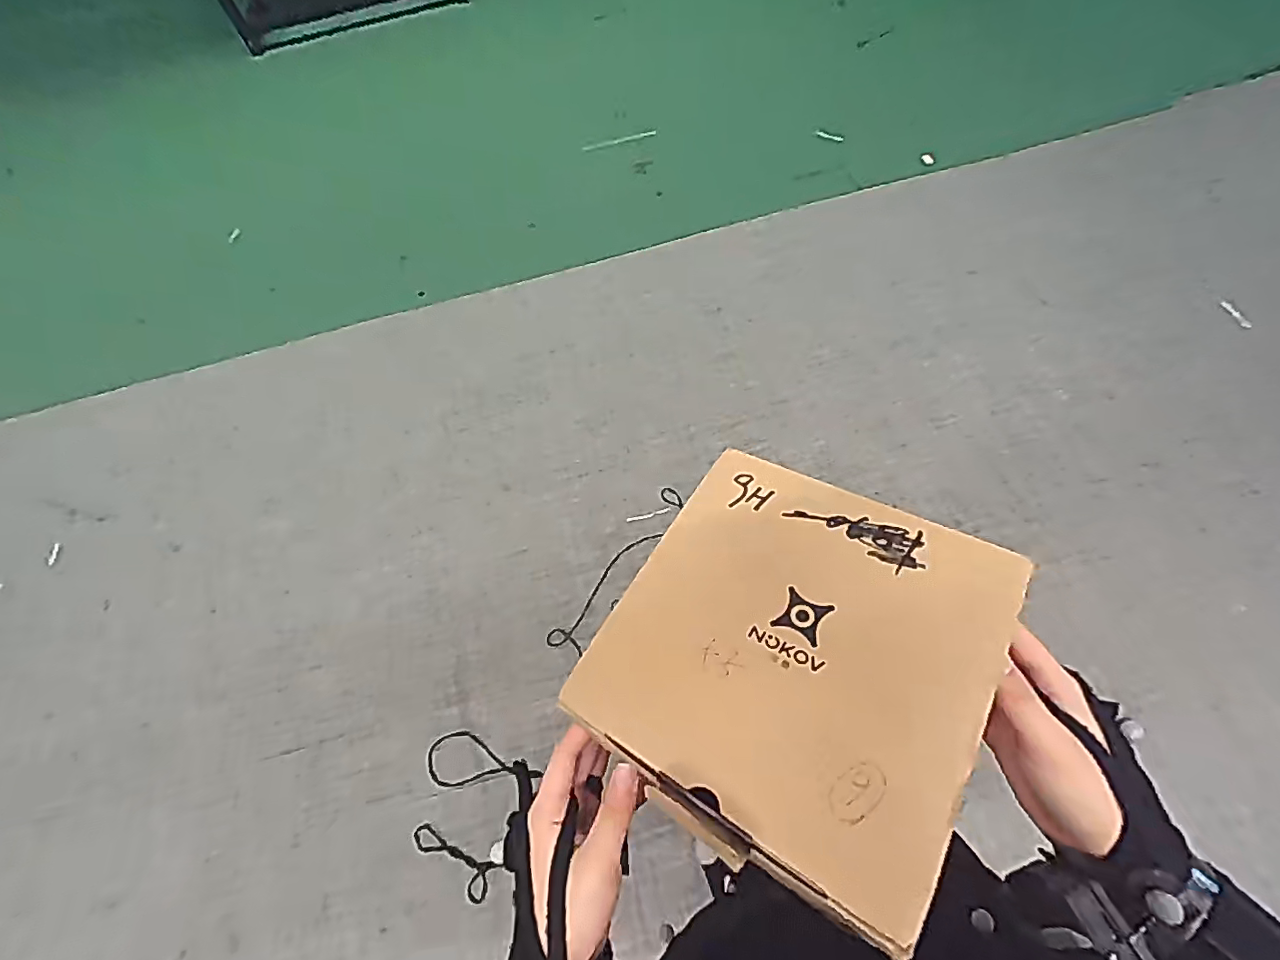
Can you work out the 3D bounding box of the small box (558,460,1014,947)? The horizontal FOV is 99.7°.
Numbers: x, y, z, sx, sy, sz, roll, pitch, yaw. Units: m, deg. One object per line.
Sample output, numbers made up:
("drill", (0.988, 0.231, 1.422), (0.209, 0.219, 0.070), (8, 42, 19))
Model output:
("small box", (0.086, 0.124, 0.327), (0.168, 0.176, 0.179), (23, 63, 27))
